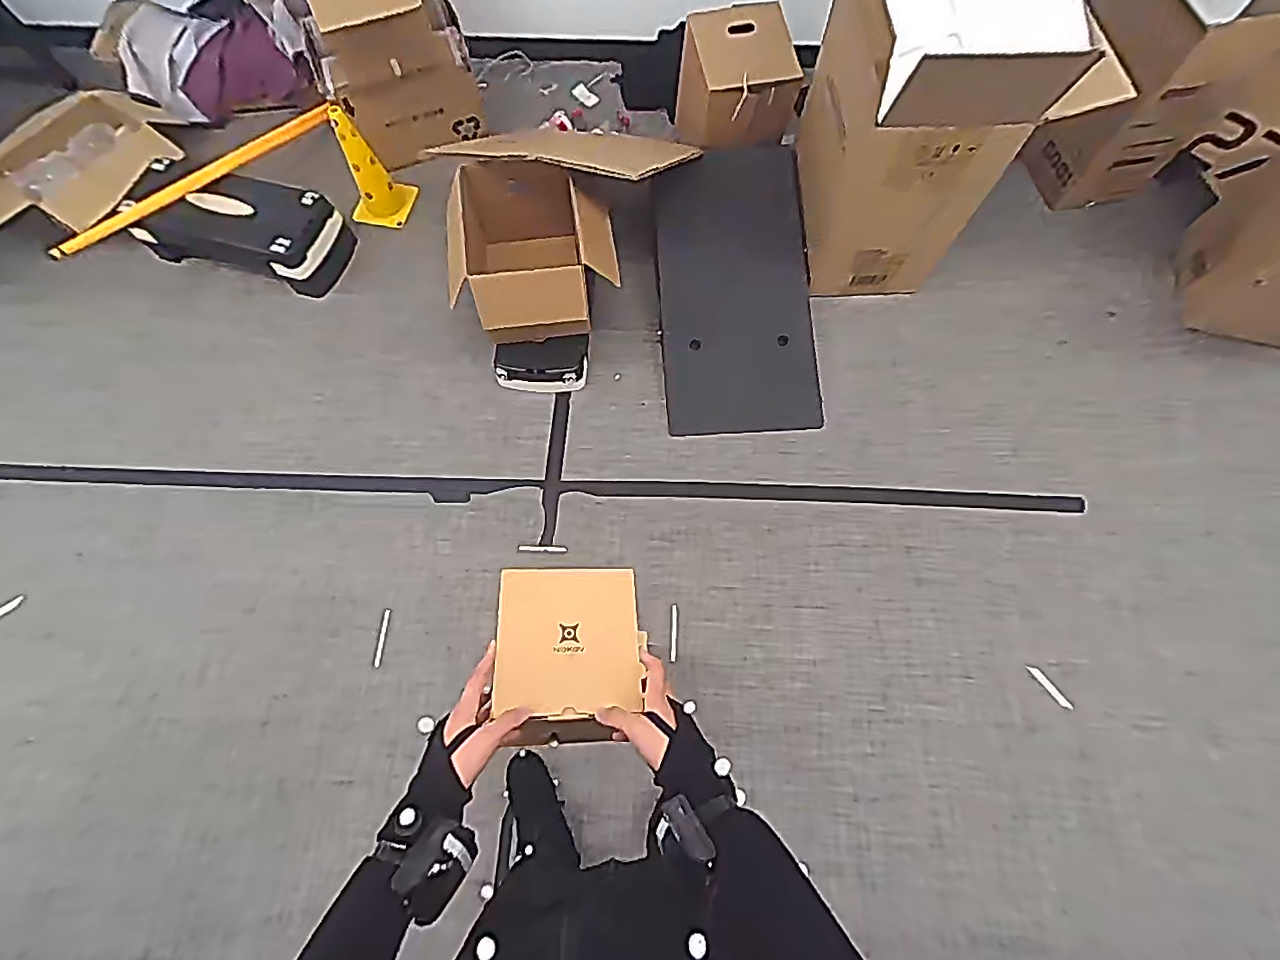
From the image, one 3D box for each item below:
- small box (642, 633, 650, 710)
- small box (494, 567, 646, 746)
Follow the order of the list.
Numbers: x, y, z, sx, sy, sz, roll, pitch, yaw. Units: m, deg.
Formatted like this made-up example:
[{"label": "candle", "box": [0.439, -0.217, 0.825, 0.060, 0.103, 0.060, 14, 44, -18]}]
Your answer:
[{"label": "small box", "box": [-0.069, 0.432, 1.216, 0.179, 0.176, 0.168, 3, 69, 0]}, {"label": "small box", "box": [-0.091, 0.226, 0.685, 0.168, 0.176, 0.179, 2, 56, -9]}]
